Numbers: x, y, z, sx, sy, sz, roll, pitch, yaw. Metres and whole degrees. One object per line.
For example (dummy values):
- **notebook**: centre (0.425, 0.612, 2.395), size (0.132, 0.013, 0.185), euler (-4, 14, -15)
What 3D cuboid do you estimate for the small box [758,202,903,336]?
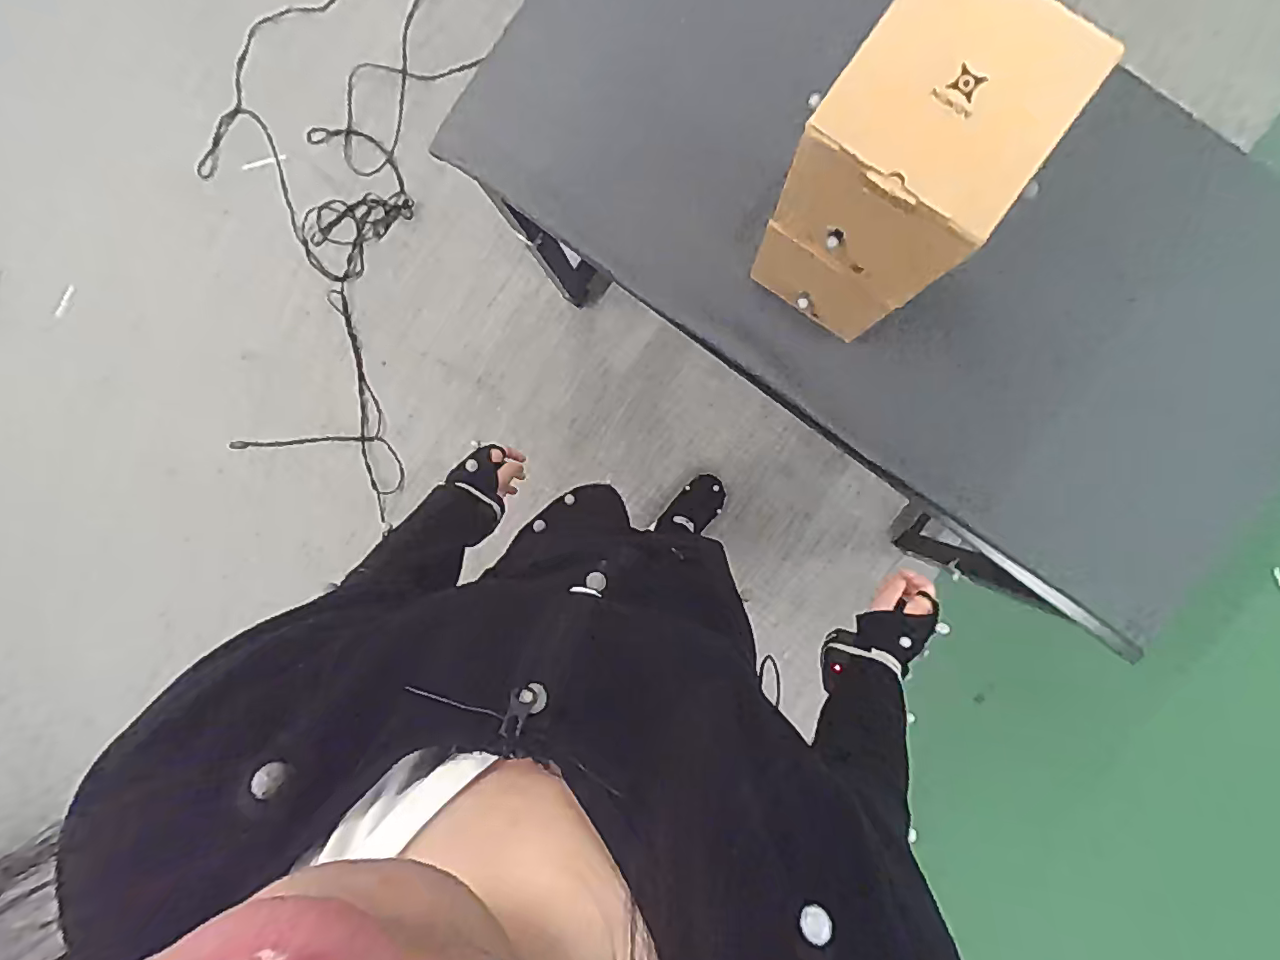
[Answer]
- **small box**: centre (0.259, -0.303, 0.645), size (0.168, 0.176, 0.179), euler (36, 94, 3)

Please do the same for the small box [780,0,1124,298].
- **small box**: centre (0.247, -0.298, 0.483), size (0.168, 0.176, 0.179), euler (35, 94, 2)
